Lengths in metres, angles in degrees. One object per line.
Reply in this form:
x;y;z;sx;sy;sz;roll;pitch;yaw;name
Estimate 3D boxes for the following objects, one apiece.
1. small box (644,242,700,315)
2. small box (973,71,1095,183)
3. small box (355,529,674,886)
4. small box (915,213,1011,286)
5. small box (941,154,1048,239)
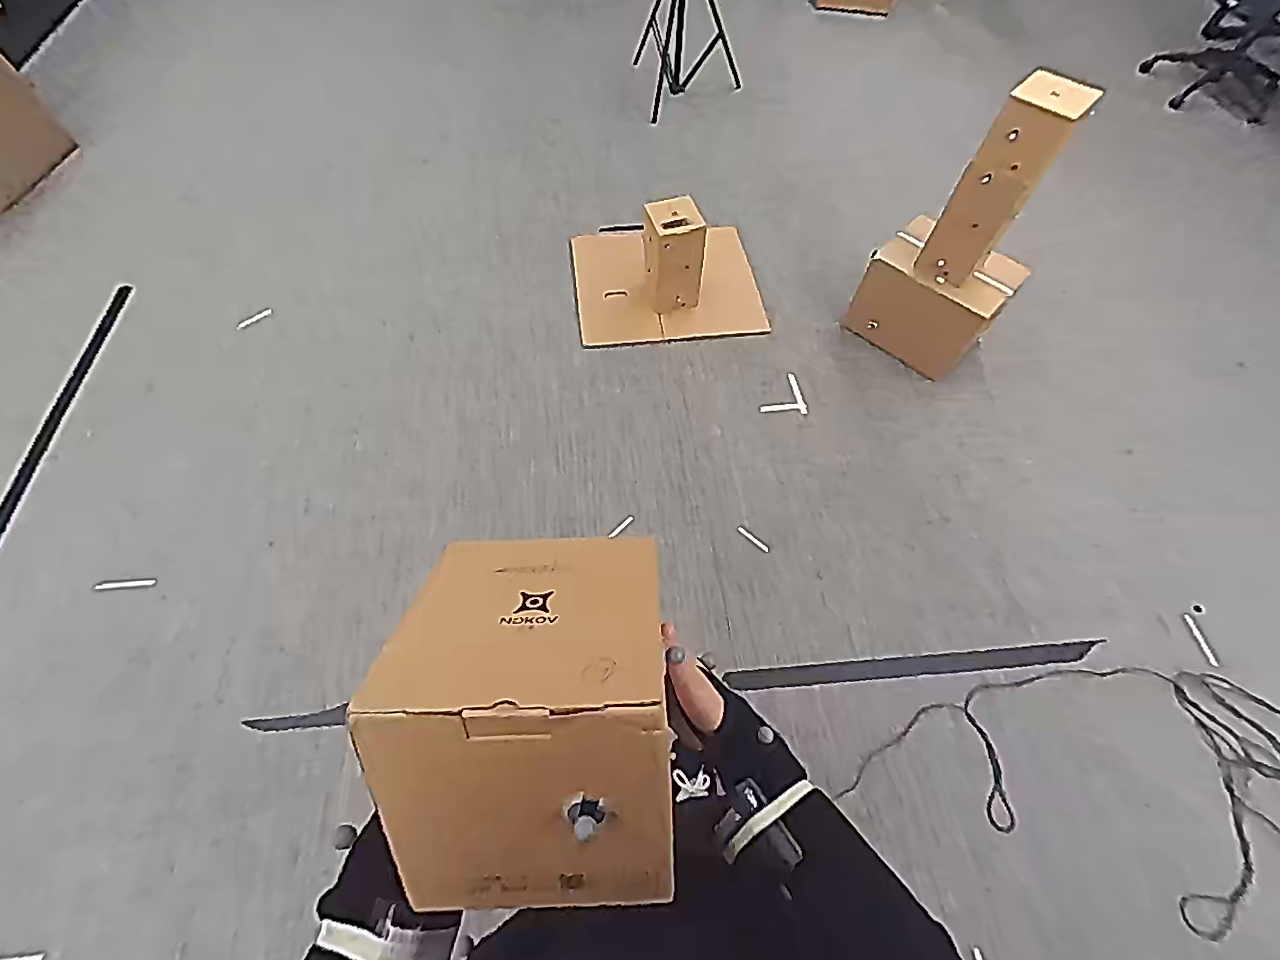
0.112;-0.743;2.002;0.168;0.176;0.179;-14;62;-7;small box
0.999;-0.901;1.388;0.168;0.176;0.179;39;66;19;small box
-0.063;0.152;0.383;0.168;0.176;0.179;-2;23;0;small box
0.990;-0.741;1.673;0.168;0.176;0.179;39;67;19;small box
0.995;-0.824;1.532;0.168;0.176;0.179;39;66;19;small box
